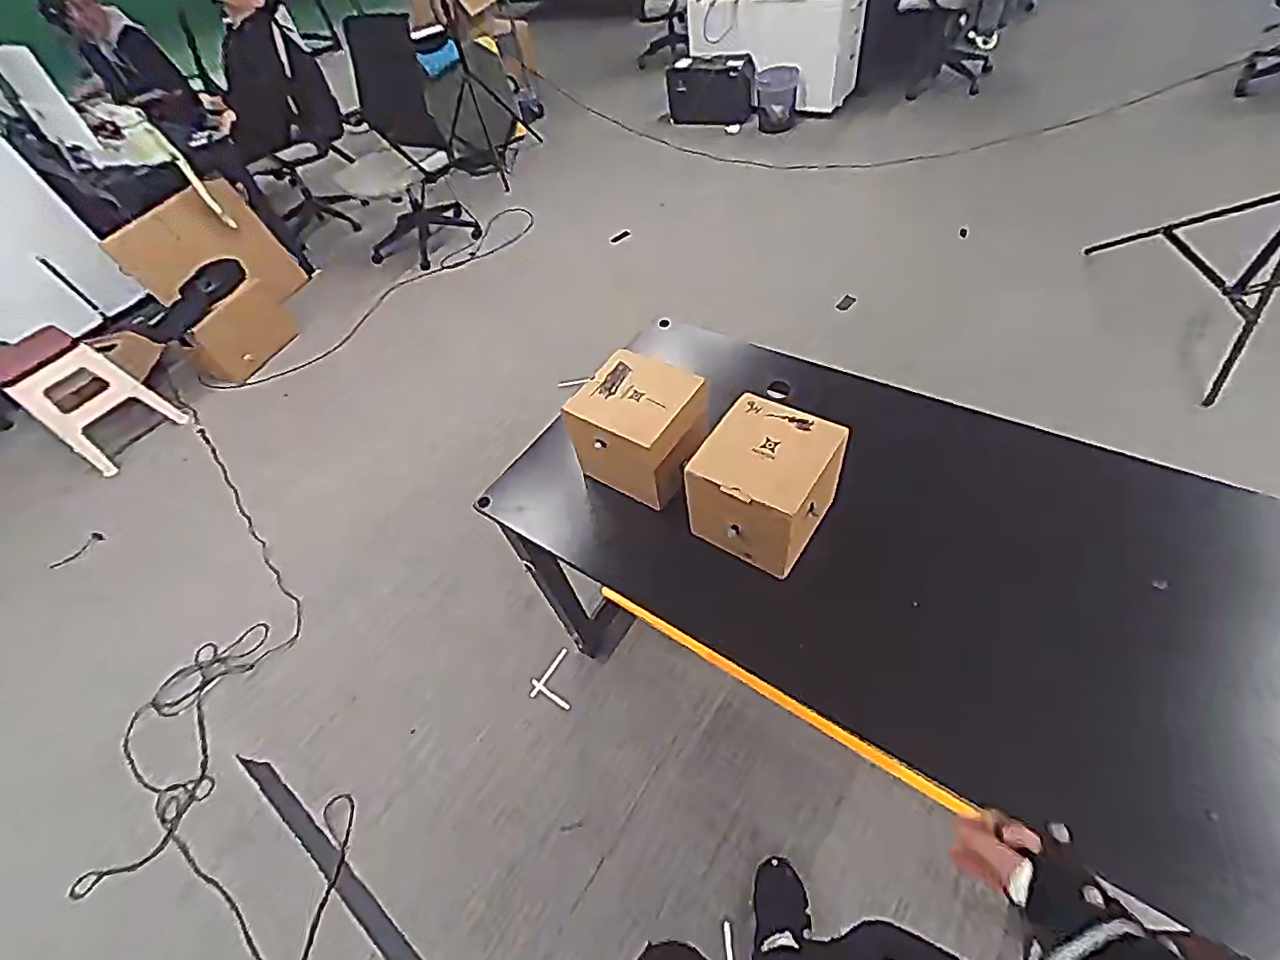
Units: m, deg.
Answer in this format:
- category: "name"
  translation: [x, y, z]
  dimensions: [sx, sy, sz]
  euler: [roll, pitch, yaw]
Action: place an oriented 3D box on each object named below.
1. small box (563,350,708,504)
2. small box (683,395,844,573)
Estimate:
- category: "small box"
  translation: [0.001, -0.087, 0.919]
  dimensions: [0.179, 0.176, 0.168]
  euler: [26, 62, 25]
- category: "small box"
  translation: [0.184, 0.010, 0.814]
  dimensions: [0.168, 0.176, 0.179]
  euler: [26, 61, 25]
